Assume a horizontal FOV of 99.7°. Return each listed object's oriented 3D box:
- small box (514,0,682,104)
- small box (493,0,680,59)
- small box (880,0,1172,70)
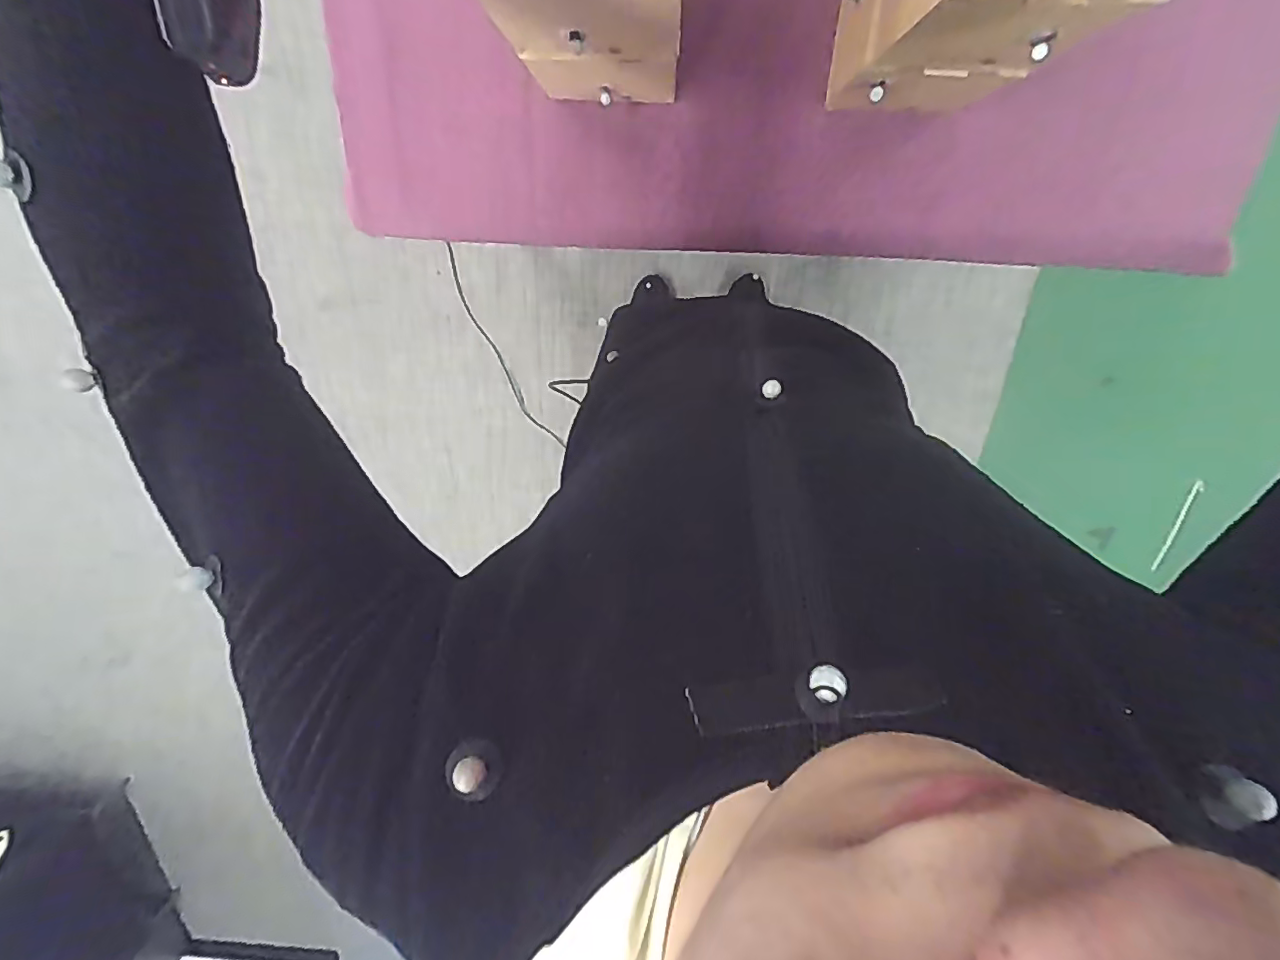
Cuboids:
[{"bbox_3d":[-0.038,-0.541,0.592,0.168,0.176,0.179,4,113,2],"label":"small box"},{"bbox_3d":[-0.046,-0.480,0.442,0.168,0.176,0.179,2,114,2],"label":"small box"},{"bbox_3d":[0.312,-0.455,0.431,0.168,0.176,0.179,3,112,2],"label":"small box"}]
